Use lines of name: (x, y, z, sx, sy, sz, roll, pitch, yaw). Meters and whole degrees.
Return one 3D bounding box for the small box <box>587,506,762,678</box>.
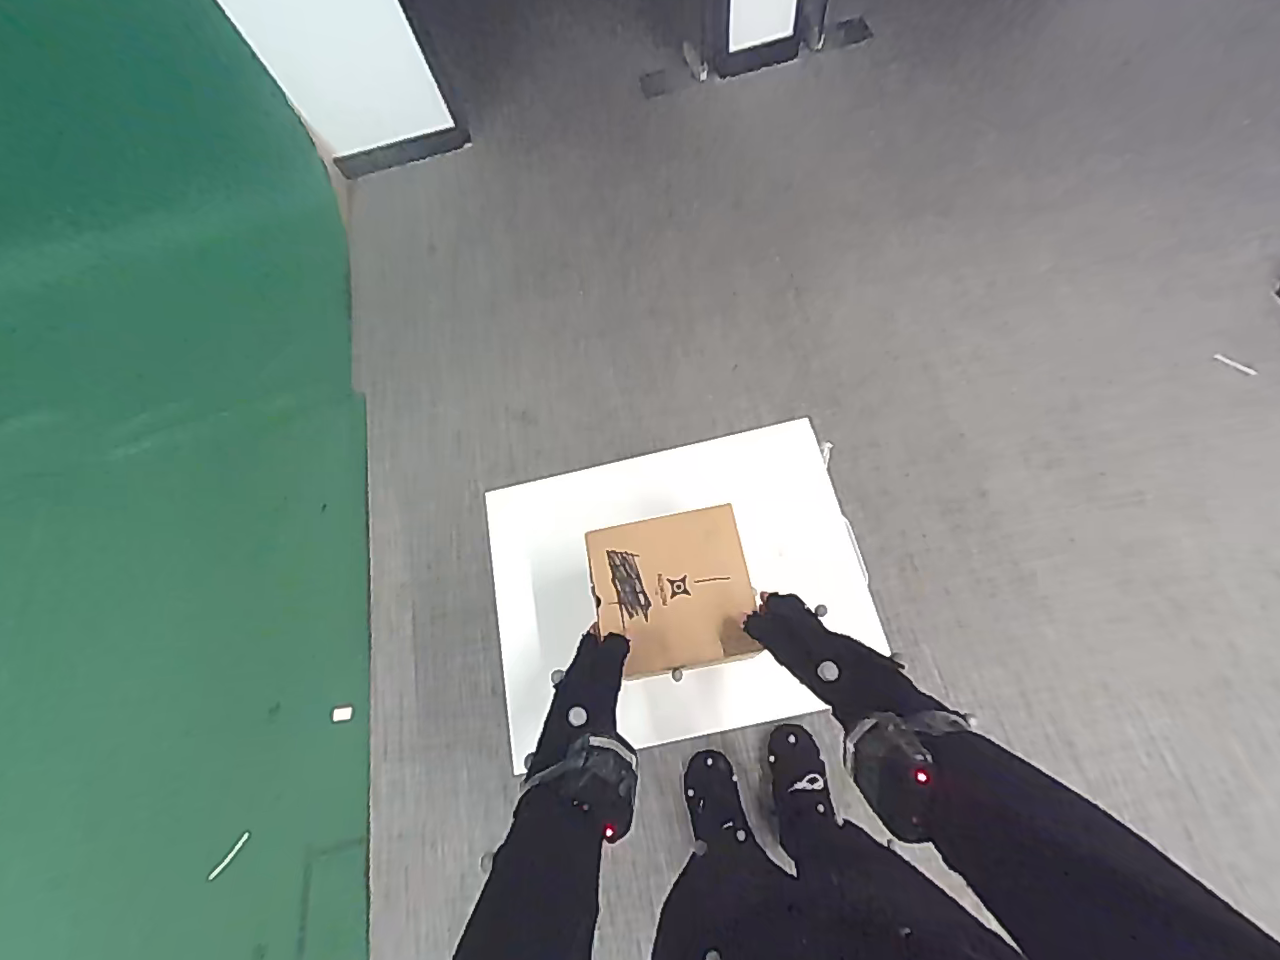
small box: (0.043, 0.148, 0.675, 0.179, 0.176, 0.168, -11, 68, 3)
